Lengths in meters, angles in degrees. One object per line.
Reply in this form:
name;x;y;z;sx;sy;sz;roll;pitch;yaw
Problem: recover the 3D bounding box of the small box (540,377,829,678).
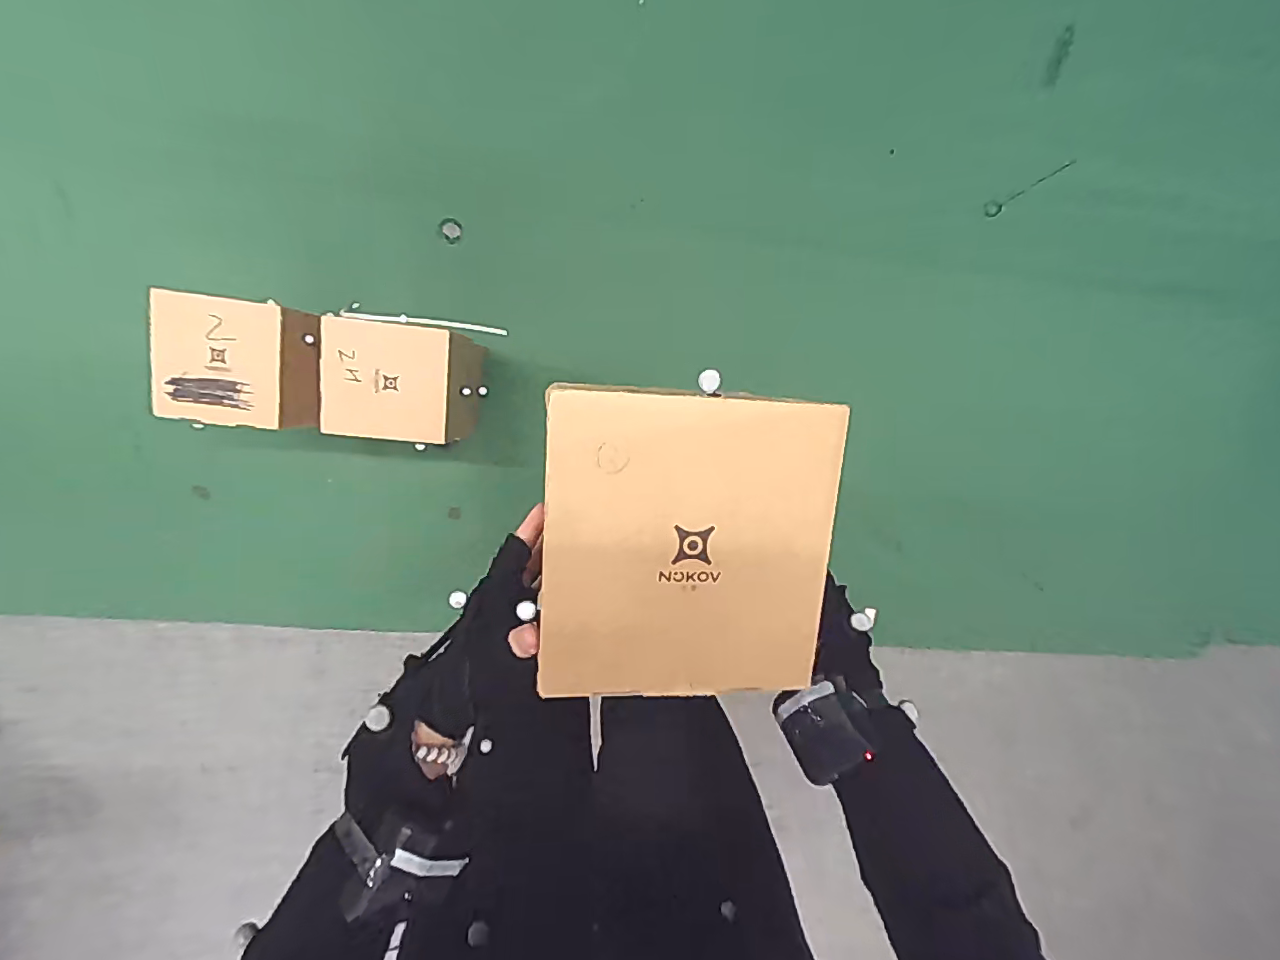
small box;0.013;0.018;0.393;0.168;0.176;0.179;1;102;-9
